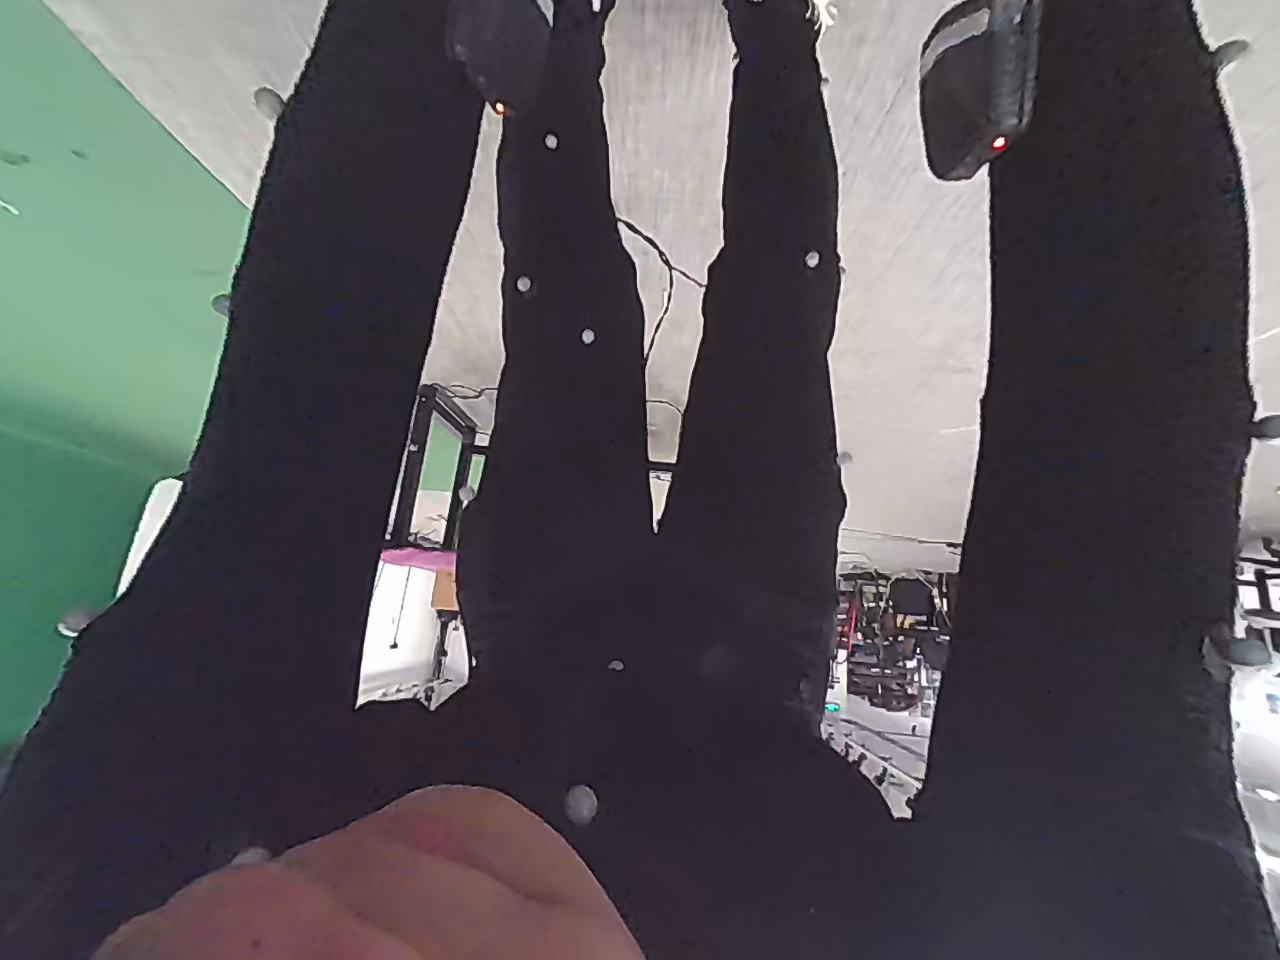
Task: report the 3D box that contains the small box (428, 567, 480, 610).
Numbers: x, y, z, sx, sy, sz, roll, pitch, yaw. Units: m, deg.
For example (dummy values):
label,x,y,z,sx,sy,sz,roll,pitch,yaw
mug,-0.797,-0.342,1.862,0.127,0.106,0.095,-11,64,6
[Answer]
label,x,y,z,sx,sy,sz,roll,pitch,yaw
small box,-0.826,0.486,2.412,0.168,0.176,0.179,4,166,-1
